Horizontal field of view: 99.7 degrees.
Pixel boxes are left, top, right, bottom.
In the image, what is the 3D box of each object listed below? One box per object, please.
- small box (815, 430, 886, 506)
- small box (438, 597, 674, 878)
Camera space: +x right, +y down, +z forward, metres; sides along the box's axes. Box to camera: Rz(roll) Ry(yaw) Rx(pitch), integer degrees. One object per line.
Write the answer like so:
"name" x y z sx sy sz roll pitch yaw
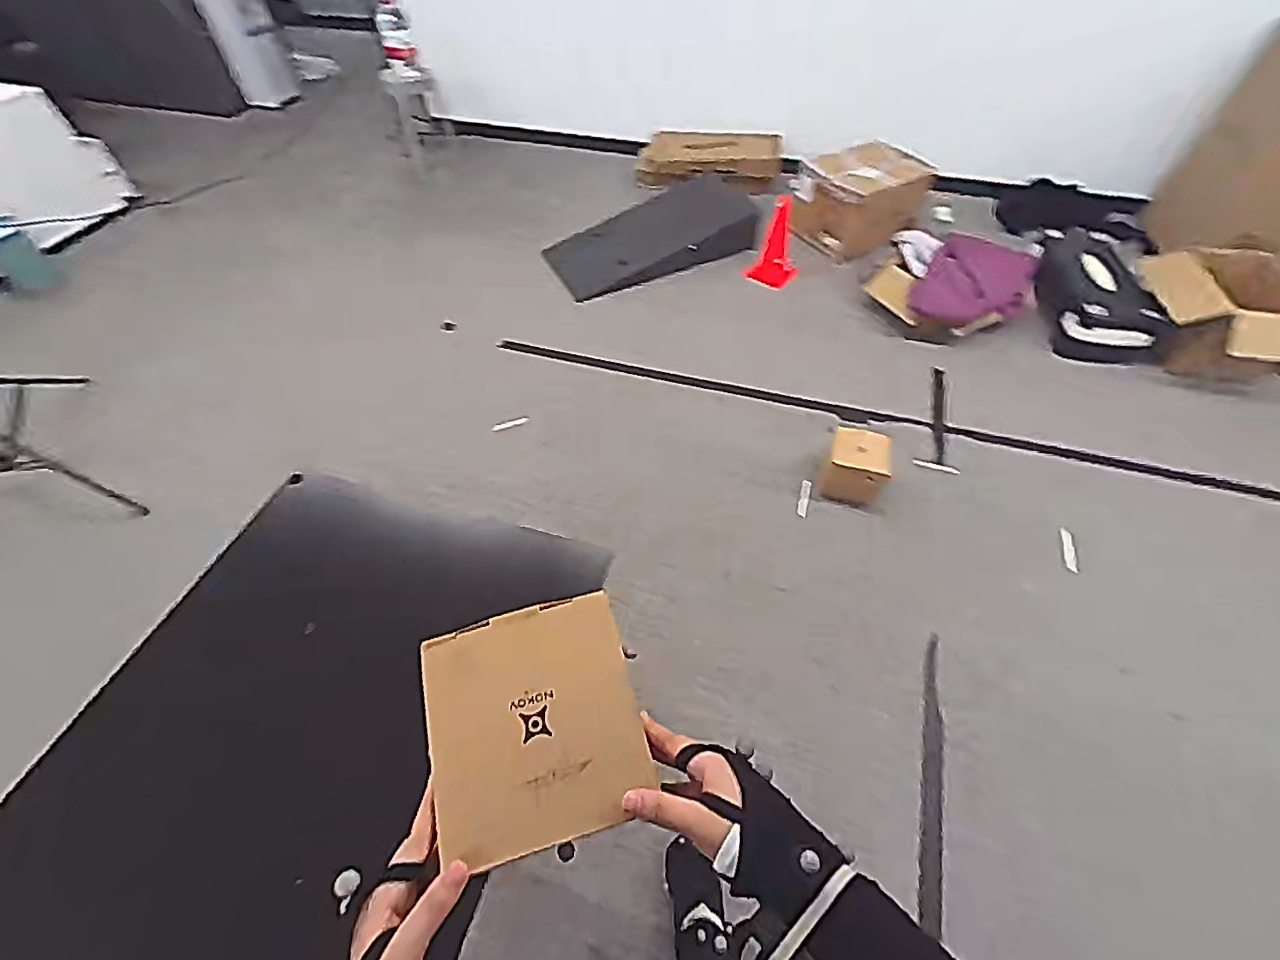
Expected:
"small box" 0.689 -0.036 1.776 0.179 0.176 0.168 12 54 11
"small box" -0.074 0.233 0.501 0.168 0.176 0.179 -14 61 -7
